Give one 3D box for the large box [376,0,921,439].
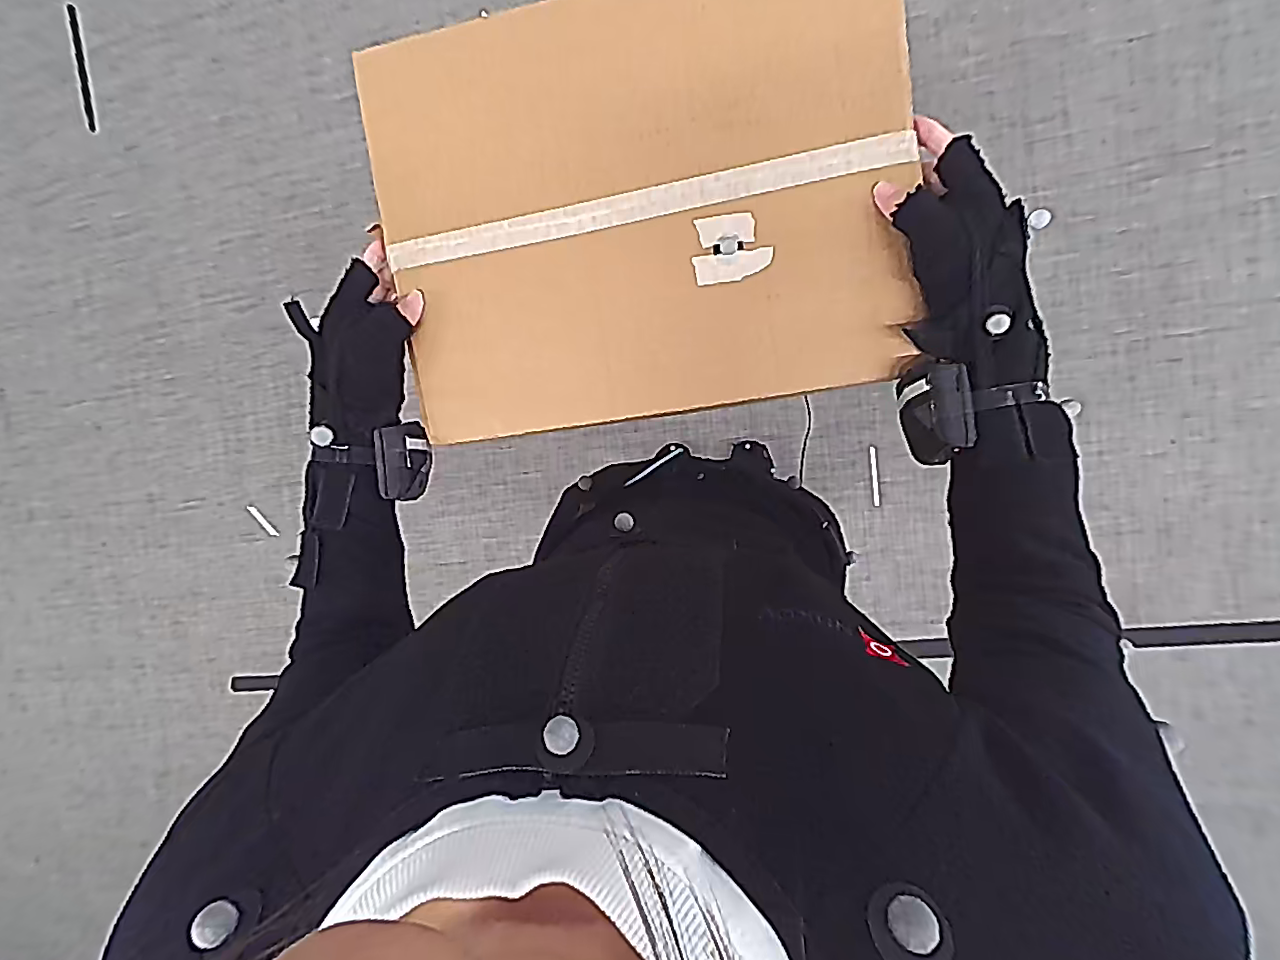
[{"bbox_3d":[0.017,-0.231,0.572,0.408,0.320,0.320,-8,97,9],"label":"large box"}]
